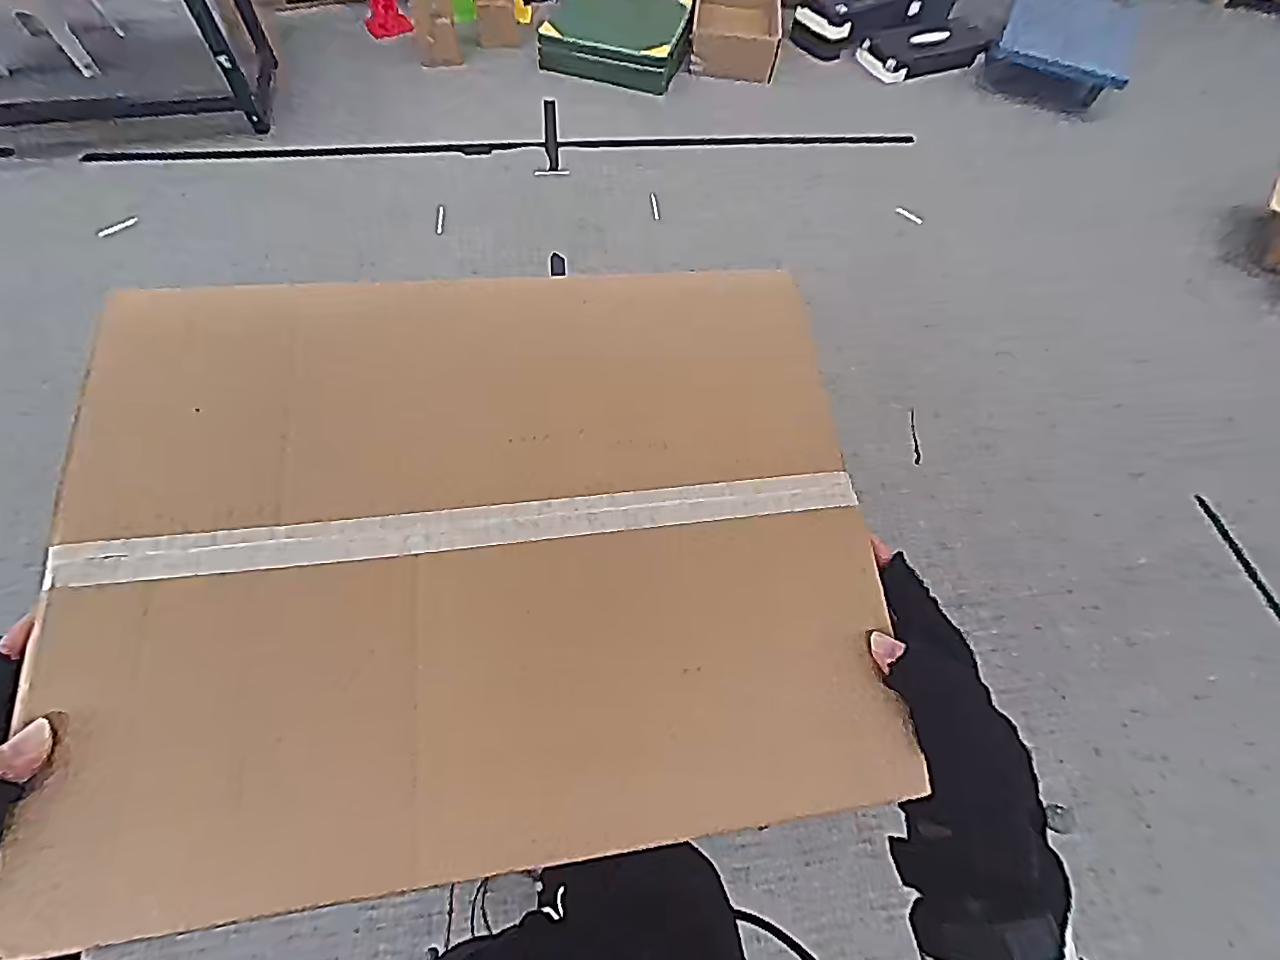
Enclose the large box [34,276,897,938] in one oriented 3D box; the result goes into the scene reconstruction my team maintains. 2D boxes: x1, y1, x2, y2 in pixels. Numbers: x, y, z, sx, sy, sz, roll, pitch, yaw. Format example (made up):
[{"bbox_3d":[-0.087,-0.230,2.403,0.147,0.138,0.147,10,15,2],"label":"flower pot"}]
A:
[{"bbox_3d":[-0.093,0.071,0.436,0.408,0.320,0.320,-5,72,-8],"label":"large box"}]
